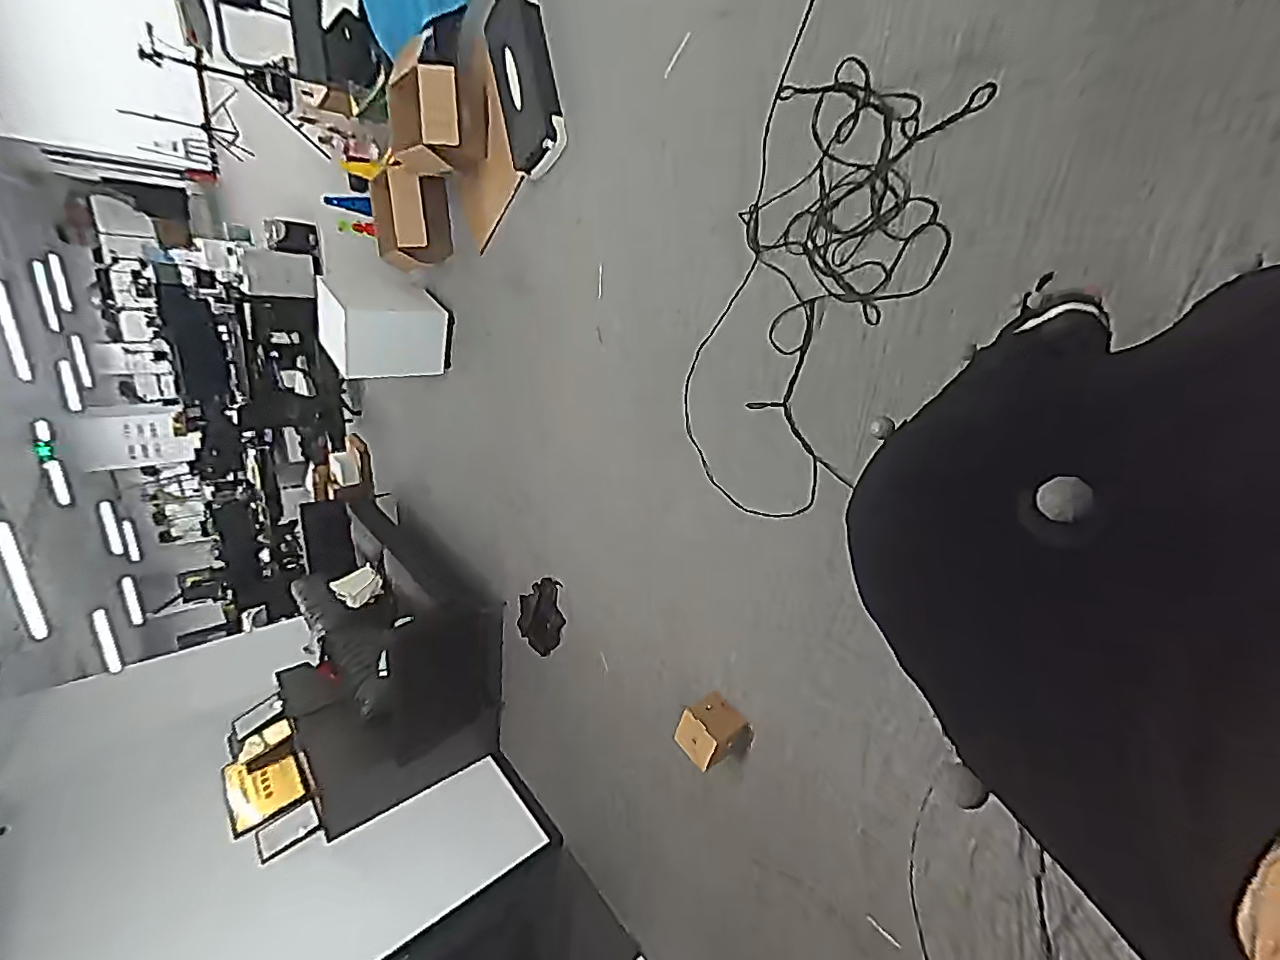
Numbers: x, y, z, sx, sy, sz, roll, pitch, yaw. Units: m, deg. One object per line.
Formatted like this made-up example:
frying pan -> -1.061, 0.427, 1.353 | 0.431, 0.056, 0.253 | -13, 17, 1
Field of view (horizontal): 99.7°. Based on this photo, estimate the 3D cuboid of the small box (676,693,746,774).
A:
small box -> 0.263, 0.921, 1.980 | 0.168, 0.176, 0.179 | 39, 128, 39
